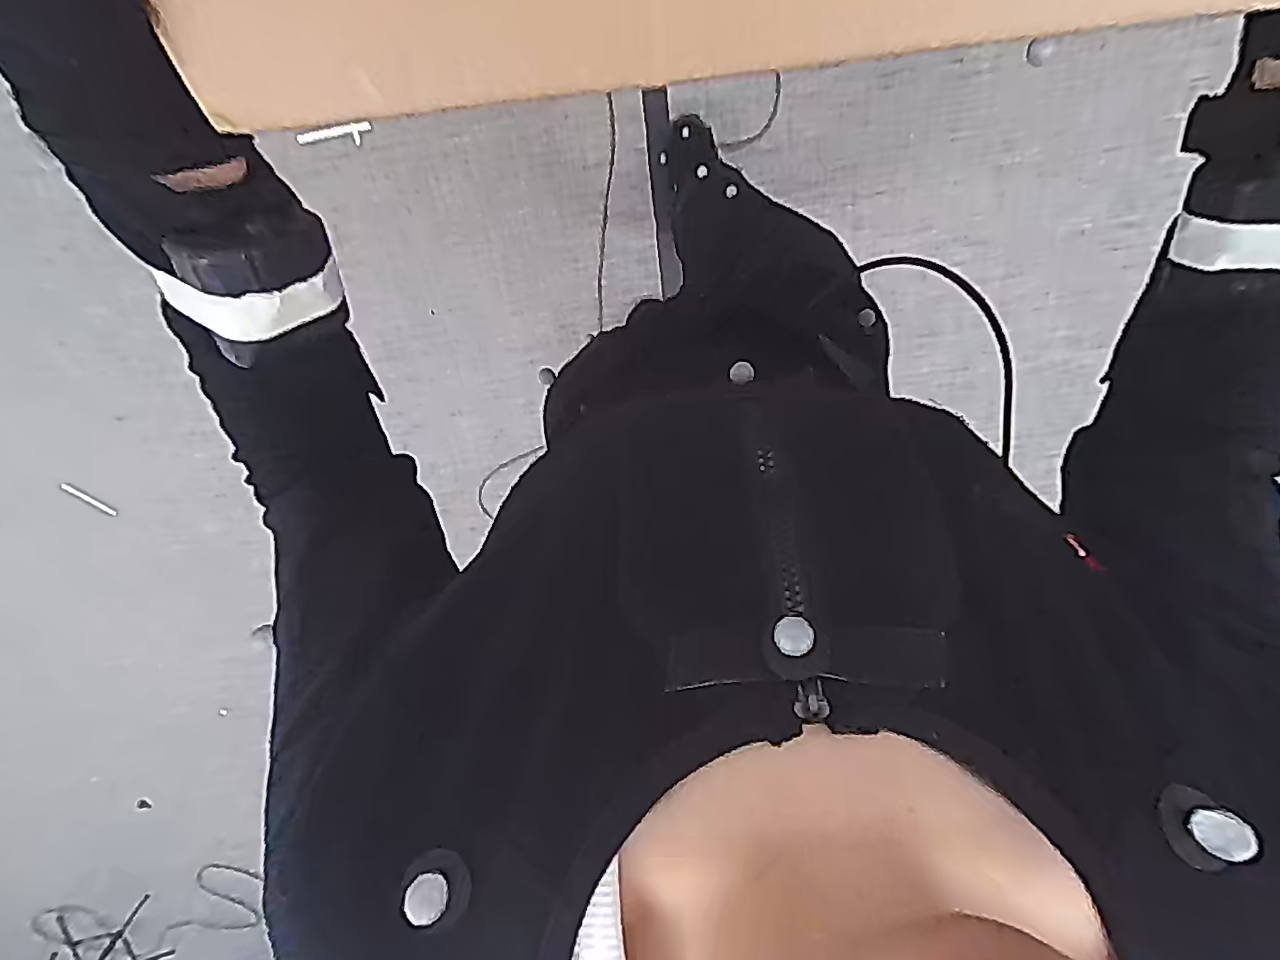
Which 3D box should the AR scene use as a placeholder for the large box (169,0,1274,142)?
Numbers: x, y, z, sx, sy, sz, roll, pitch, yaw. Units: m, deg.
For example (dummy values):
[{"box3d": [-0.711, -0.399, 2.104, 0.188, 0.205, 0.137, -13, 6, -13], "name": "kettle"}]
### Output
[{"box3d": [0.023, -0.364, 0.205, 0.408, 0.320, 0.320, -4, 132, 4], "name": "large box"}]
